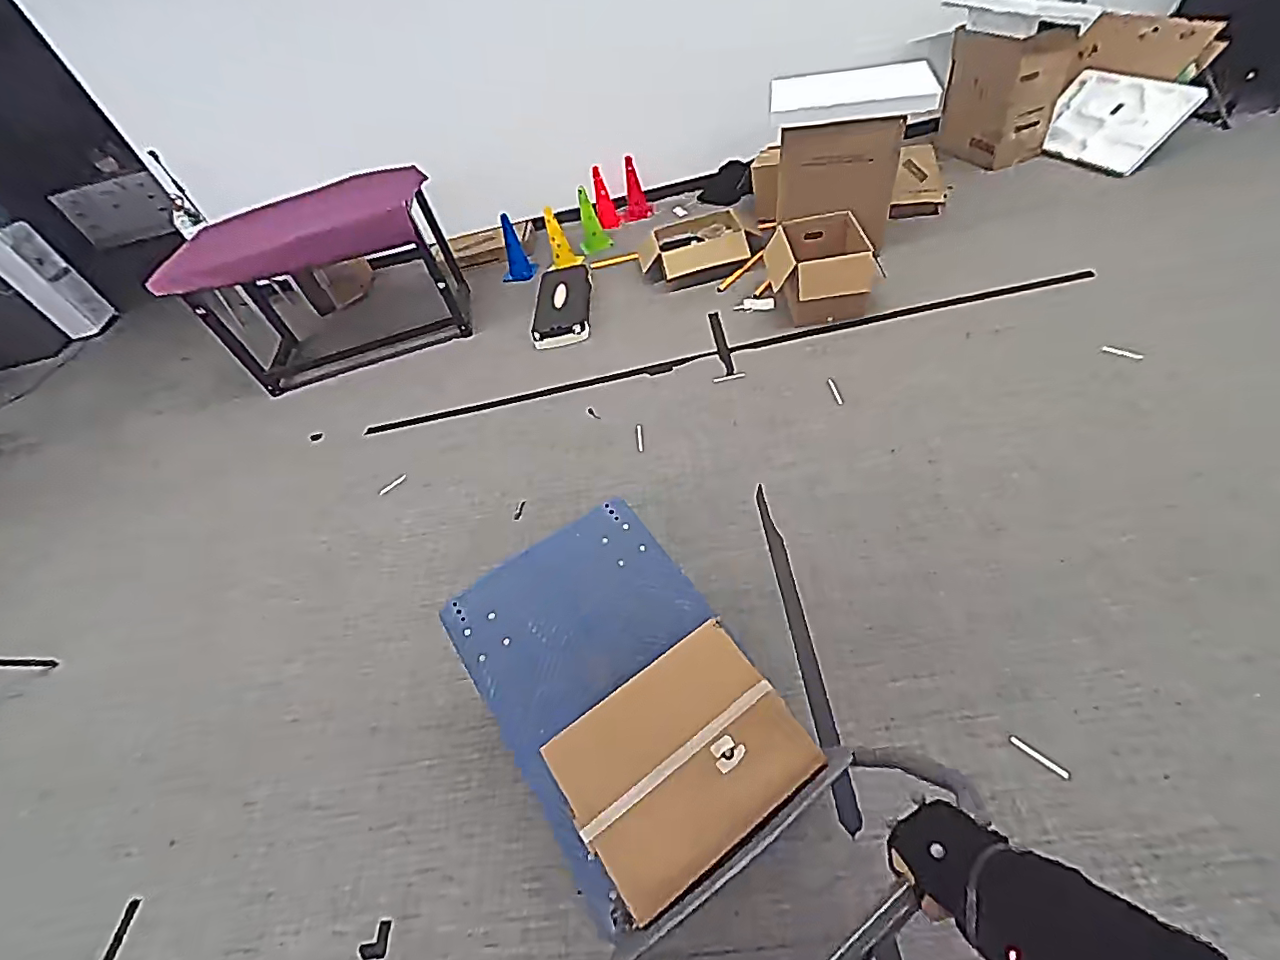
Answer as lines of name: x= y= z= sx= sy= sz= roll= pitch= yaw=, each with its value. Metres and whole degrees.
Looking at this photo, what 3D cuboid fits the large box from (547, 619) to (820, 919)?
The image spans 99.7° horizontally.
large box: x=0.081 y=0.563 z=1.097 sx=0.408 sy=0.320 sz=0.320 roll=-33 pitch=65 yaw=-16
